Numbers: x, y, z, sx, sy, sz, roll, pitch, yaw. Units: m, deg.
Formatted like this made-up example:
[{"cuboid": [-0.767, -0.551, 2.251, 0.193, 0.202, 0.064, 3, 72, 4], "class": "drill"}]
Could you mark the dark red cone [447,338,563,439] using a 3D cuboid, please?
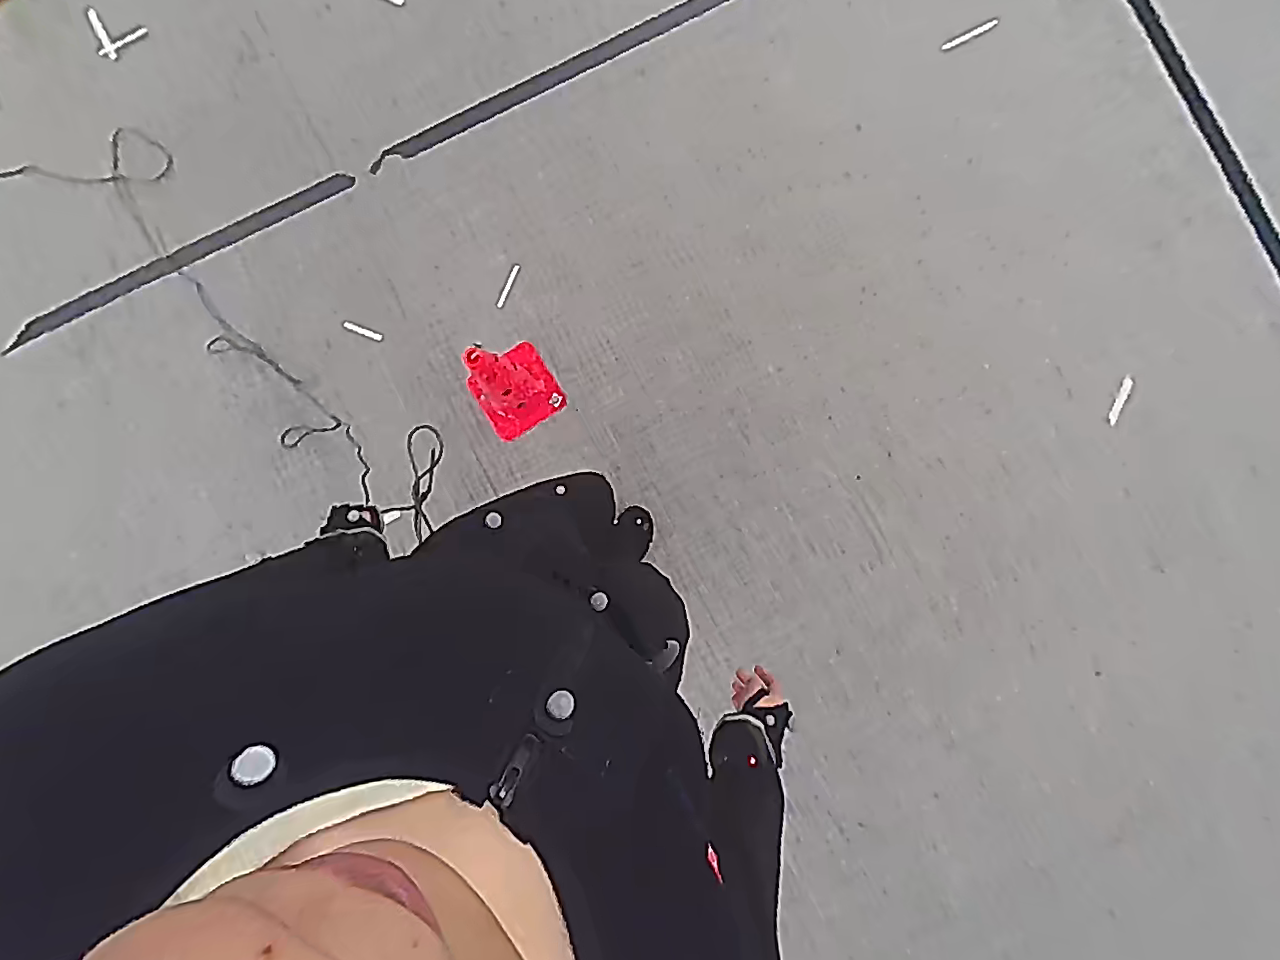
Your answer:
[{"cuboid": [-0.322, -0.231, 1.177, 0.202, 0.394, 0.201, -34, 87, 0], "class": "dark red cone"}]
